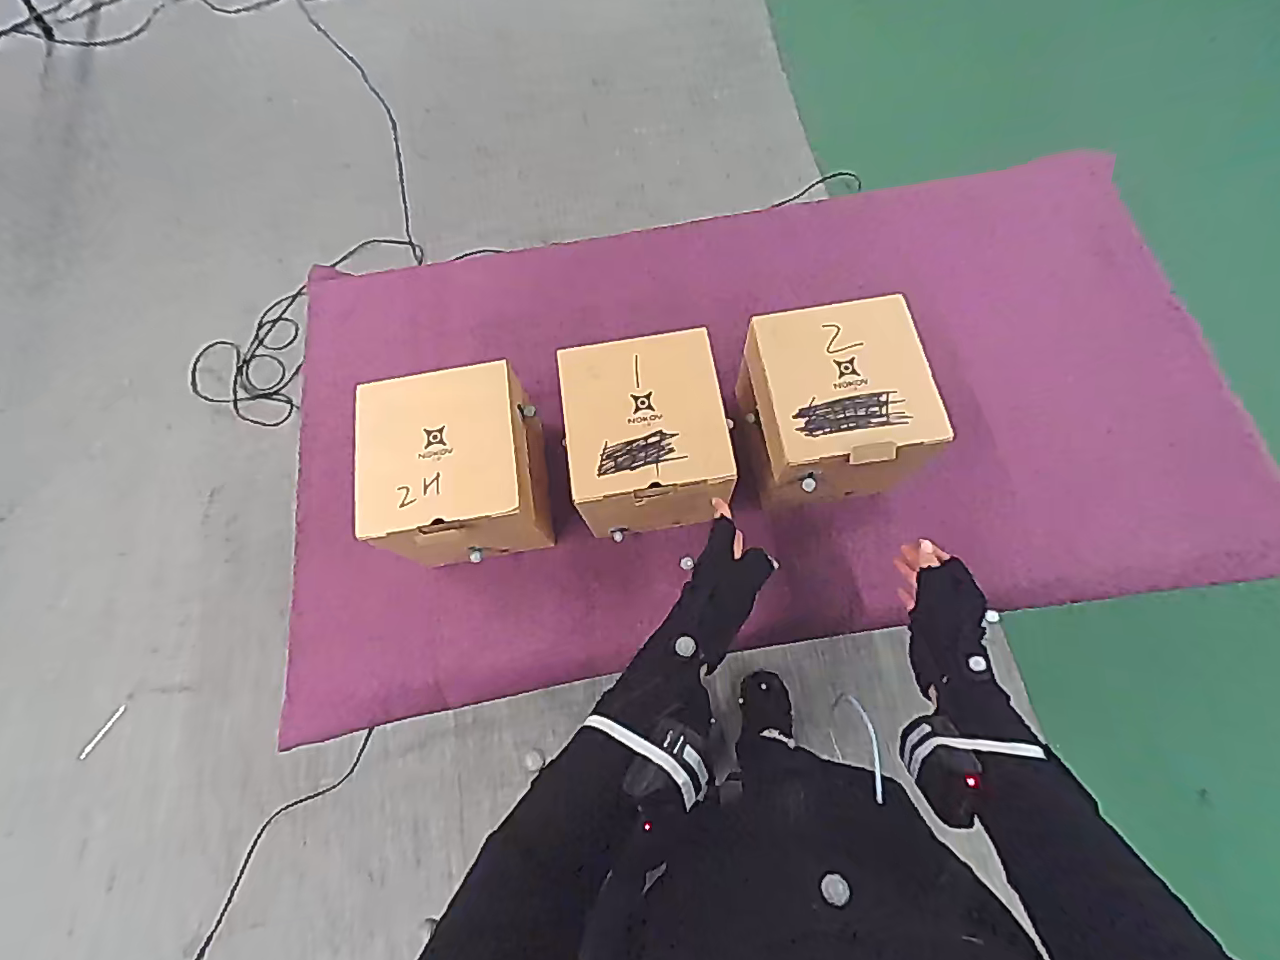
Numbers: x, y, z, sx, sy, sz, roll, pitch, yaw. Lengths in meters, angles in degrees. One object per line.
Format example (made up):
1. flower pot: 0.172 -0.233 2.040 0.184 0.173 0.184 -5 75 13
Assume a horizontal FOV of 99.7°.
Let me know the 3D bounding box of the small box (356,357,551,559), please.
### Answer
1. small box: -0.208 -0.017 0.636 0.168 0.176 0.179 -10 72 1
